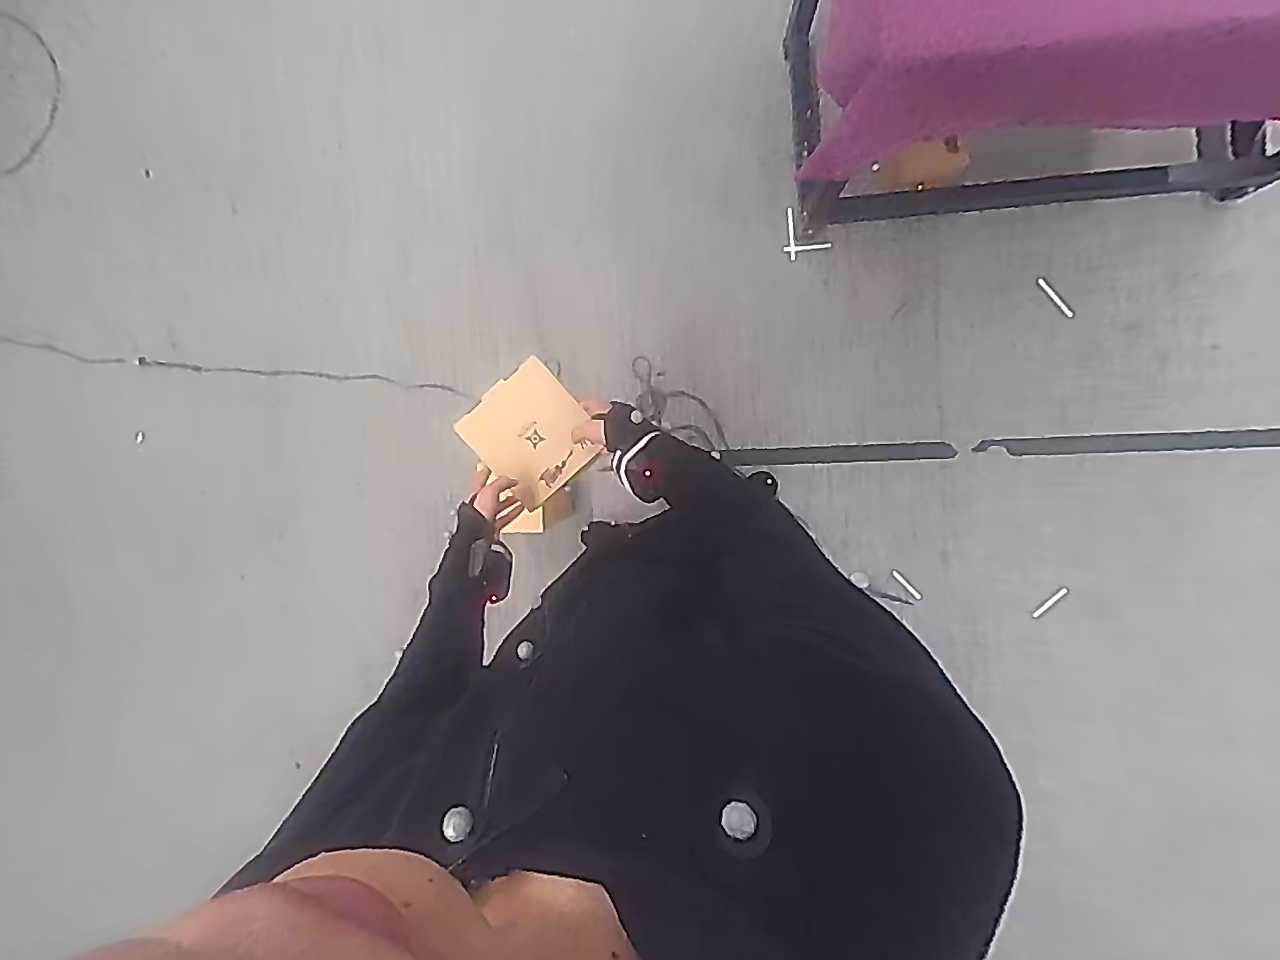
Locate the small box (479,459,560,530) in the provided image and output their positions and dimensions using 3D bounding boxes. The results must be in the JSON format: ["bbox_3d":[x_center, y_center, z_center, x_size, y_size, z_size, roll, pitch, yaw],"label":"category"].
[{"bbox_3d":[-0.307,0.032,1.406,0.168,0.176,0.179,-1,92,5],"label":"small box"}]

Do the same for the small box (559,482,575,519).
[{"bbox_3d":[-0.294,0.026,1.568,0.179,0.176,0.168,-2,93,5],"label":"small box"}]

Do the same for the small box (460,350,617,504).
[{"bbox_3d":[-0.153,-0.079,0.882,0.168,0.176,0.179,-41,92,1],"label":"small box"}]
